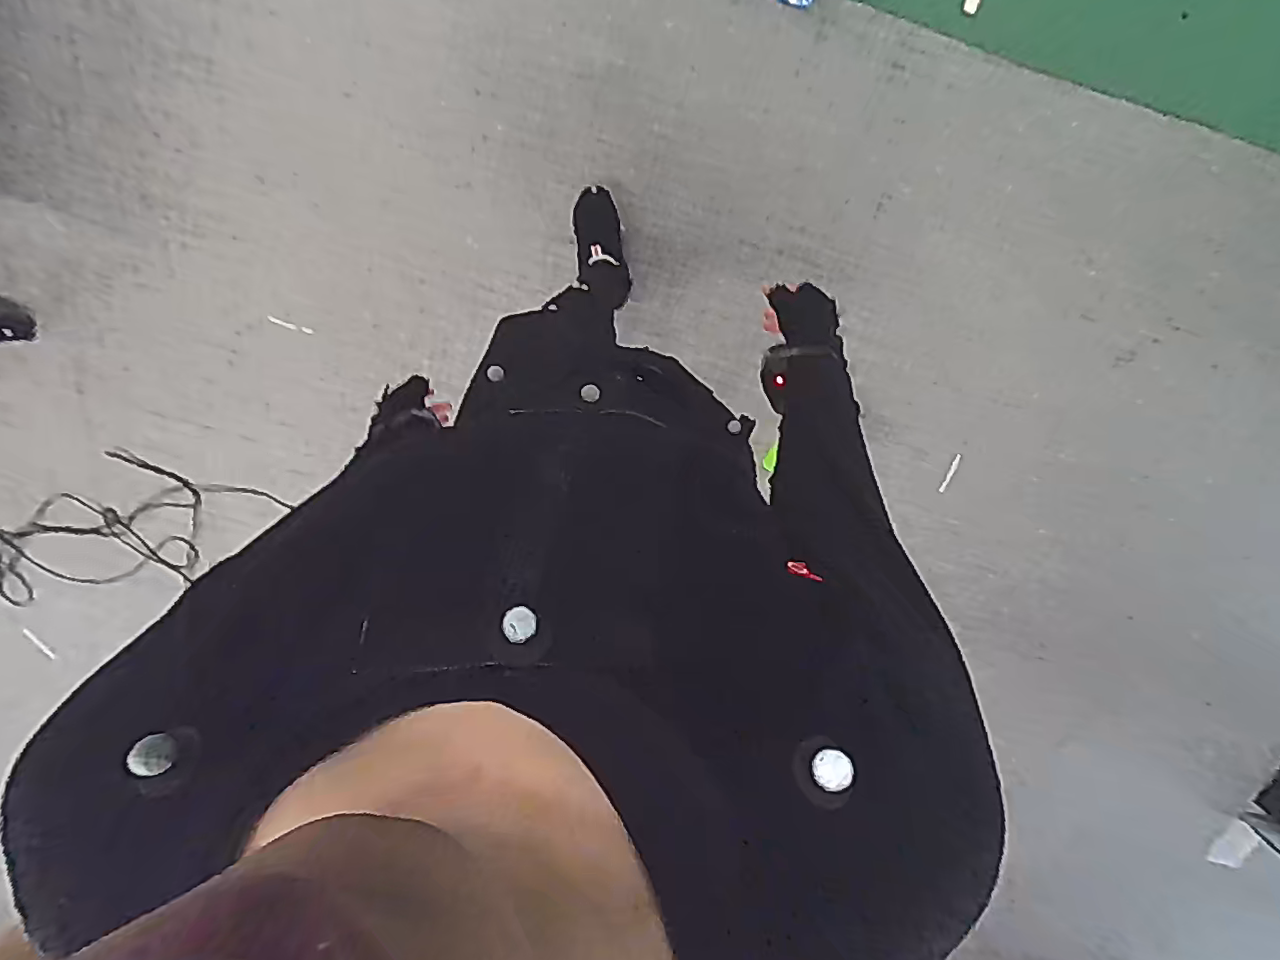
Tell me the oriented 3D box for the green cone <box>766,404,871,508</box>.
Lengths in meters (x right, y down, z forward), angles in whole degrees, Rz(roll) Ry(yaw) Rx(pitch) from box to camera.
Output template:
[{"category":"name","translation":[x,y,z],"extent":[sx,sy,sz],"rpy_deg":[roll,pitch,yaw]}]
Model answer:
[{"category":"green cone","translation":[0.453,-0.022,1.260],"extent":[0.200,0.368,0.202],"rpy_deg":[28,107,-7]}]
